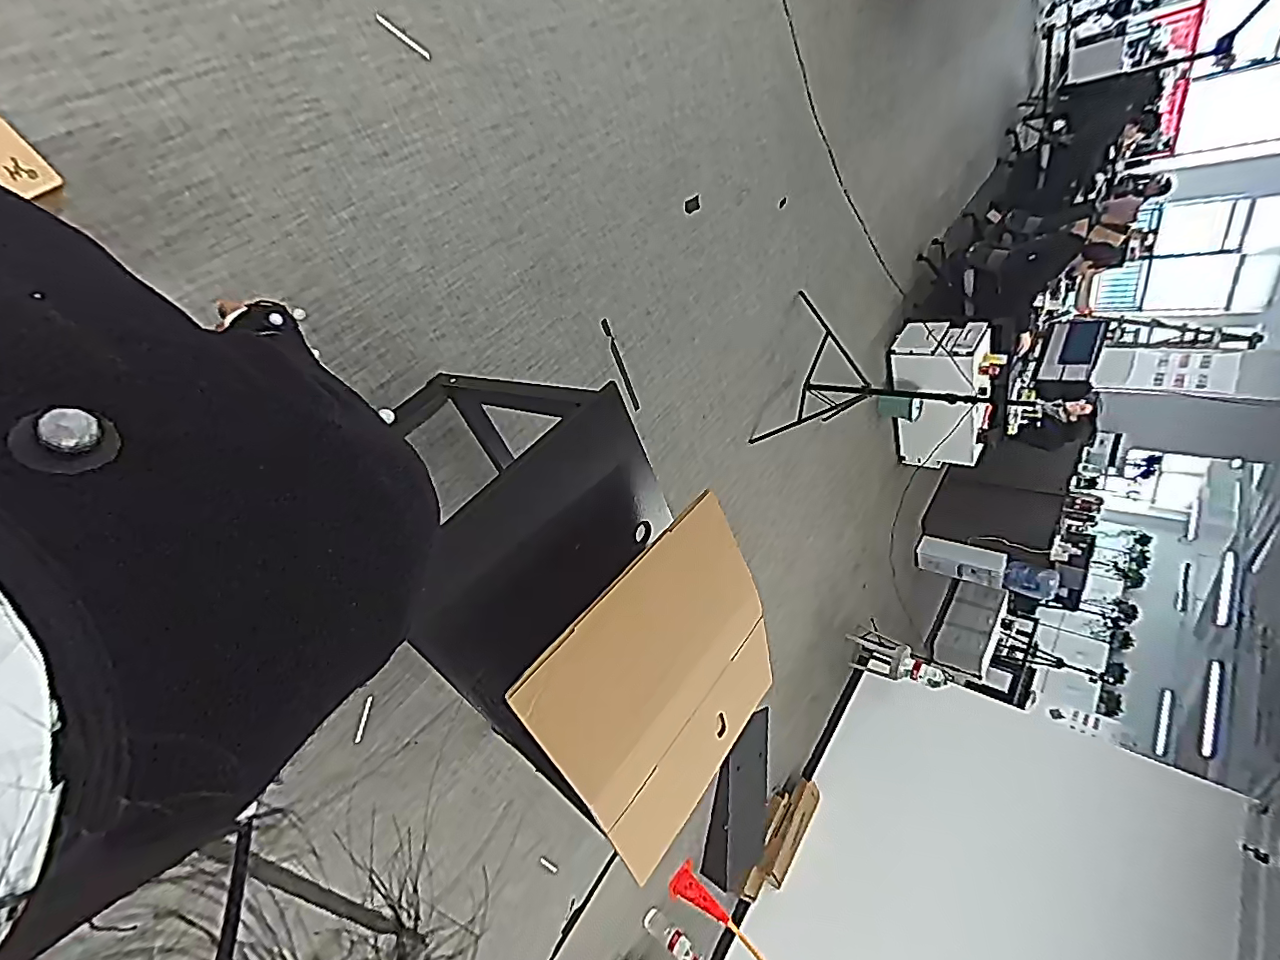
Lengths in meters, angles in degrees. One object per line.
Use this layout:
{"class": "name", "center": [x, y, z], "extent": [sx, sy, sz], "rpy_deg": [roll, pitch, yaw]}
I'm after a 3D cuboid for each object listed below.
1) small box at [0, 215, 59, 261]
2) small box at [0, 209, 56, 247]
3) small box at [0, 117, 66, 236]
{"class": "small box", "center": [-1.101, -0.441, 0.862], "extent": [0.179, 0.176, 0.168], "rpy_deg": [-50, 132, -26]}
{"class": "small box", "center": [-0.979, -0.418, 0.757], "extent": [0.179, 0.176, 0.168], "rpy_deg": [-54, 135, -25]}
{"class": "small box", "center": [-0.861, -0.390, 0.647], "extent": [0.168, 0.176, 0.179], "rpy_deg": [-51, 133, -26]}
